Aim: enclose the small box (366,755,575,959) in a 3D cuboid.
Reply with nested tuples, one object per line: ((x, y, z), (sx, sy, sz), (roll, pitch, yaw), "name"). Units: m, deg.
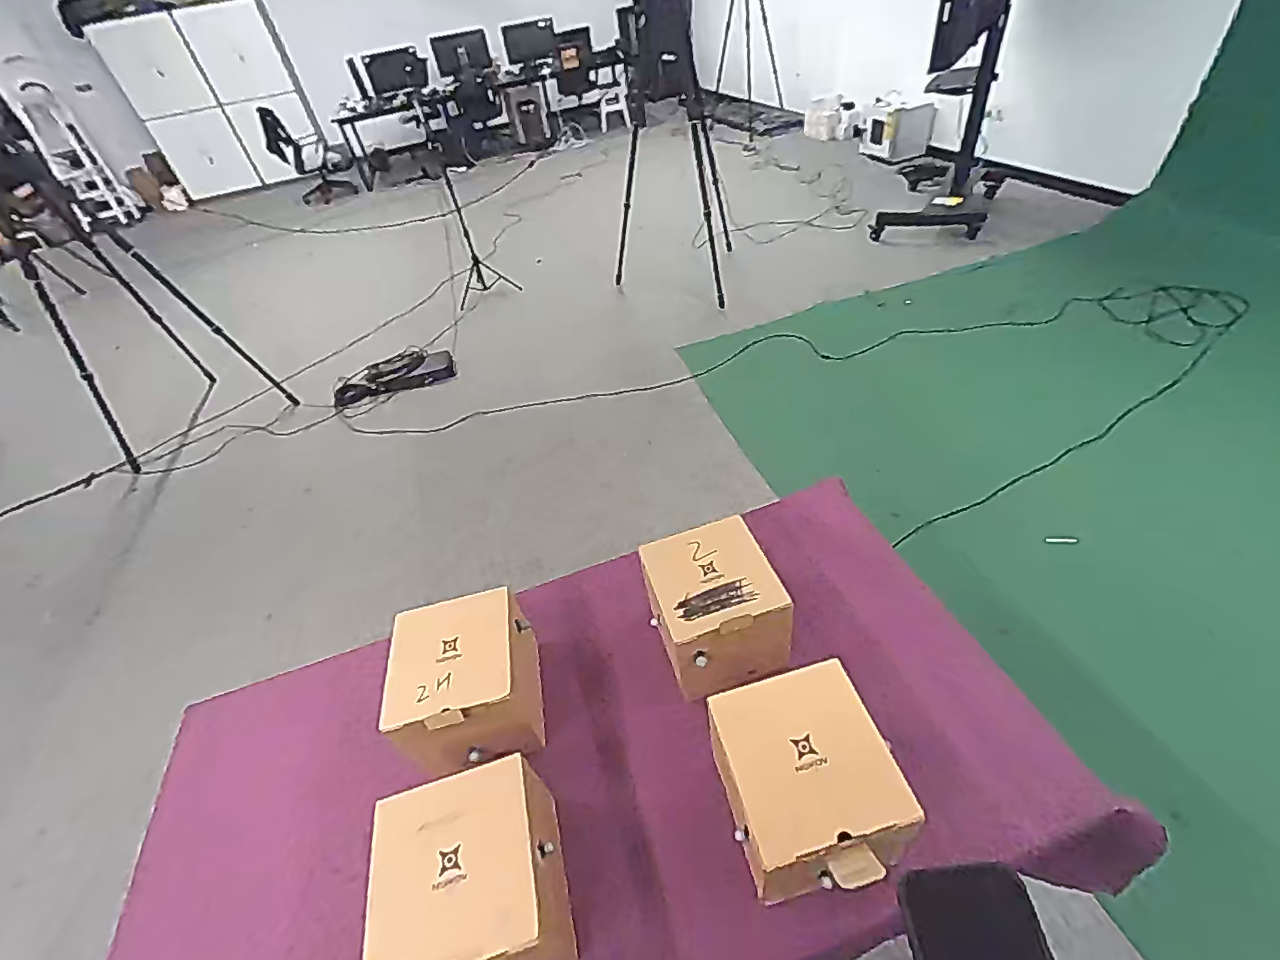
((-0.178, 0.447, 0.601), (0.168, 0.176, 0.179), (-16, 42, -6), "small box")

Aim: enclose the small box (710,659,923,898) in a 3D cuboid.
((0.187, 0.345, 0.628), (0.168, 0.176, 0.179), (-16, 43, -4), "small box")

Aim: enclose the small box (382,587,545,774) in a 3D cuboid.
((-0.241, 0.288, 0.779), (0.168, 0.176, 0.179), (-14, 44, -2), "small box")
